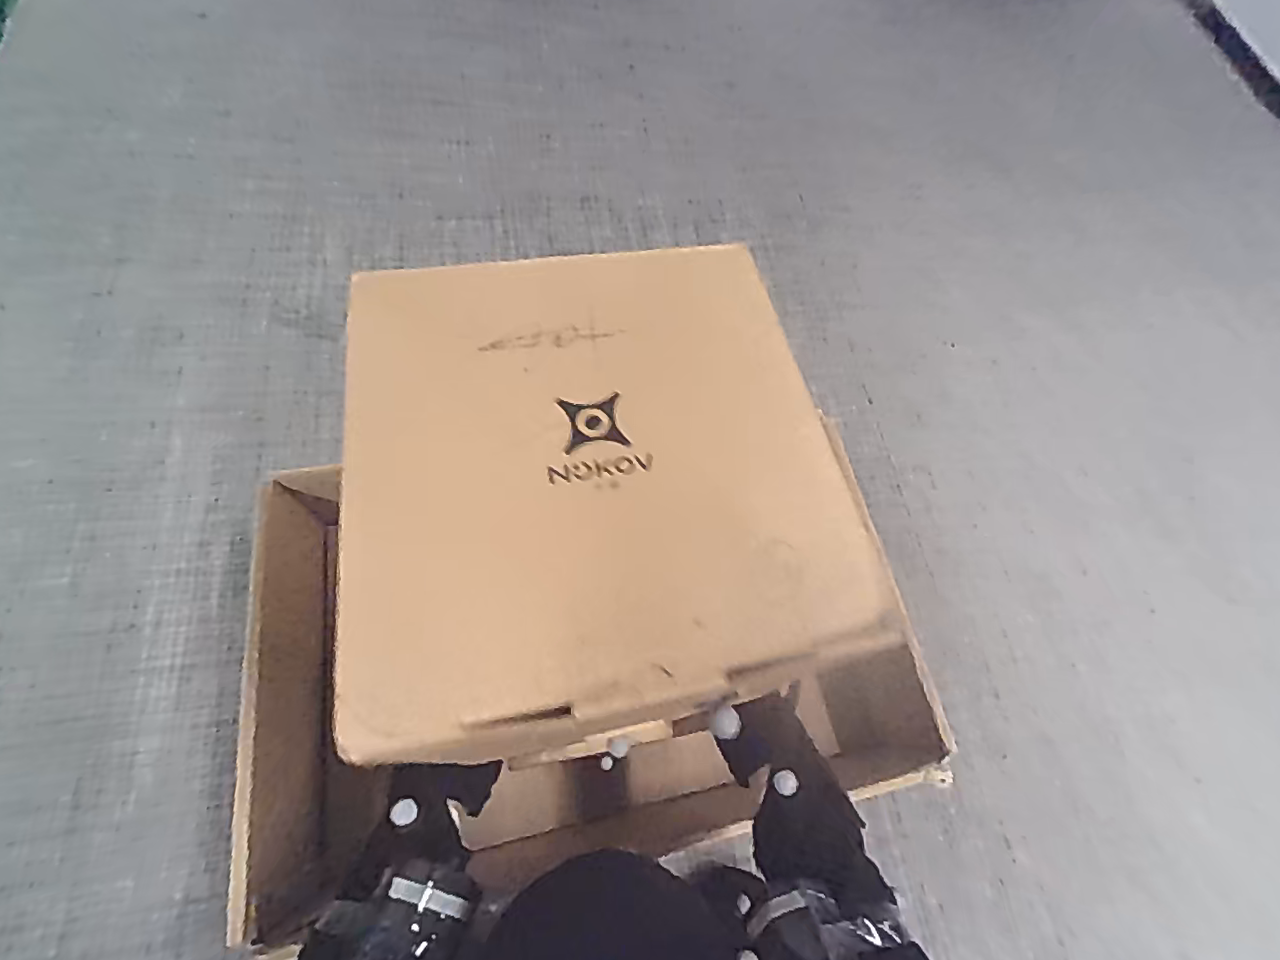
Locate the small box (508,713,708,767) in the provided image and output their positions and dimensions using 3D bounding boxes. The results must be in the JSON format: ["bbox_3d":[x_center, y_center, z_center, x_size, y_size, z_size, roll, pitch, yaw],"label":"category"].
[{"bbox_3d":[-0.044,0.194,0.567,0.179,0.176,0.168,-7,63,-8],"label":"small box"}]

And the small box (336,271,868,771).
[{"bbox_3d":[-0.027,0.029,0.268,0.168,0.176,0.179,-9,63,-10],"label":"small box"}]
